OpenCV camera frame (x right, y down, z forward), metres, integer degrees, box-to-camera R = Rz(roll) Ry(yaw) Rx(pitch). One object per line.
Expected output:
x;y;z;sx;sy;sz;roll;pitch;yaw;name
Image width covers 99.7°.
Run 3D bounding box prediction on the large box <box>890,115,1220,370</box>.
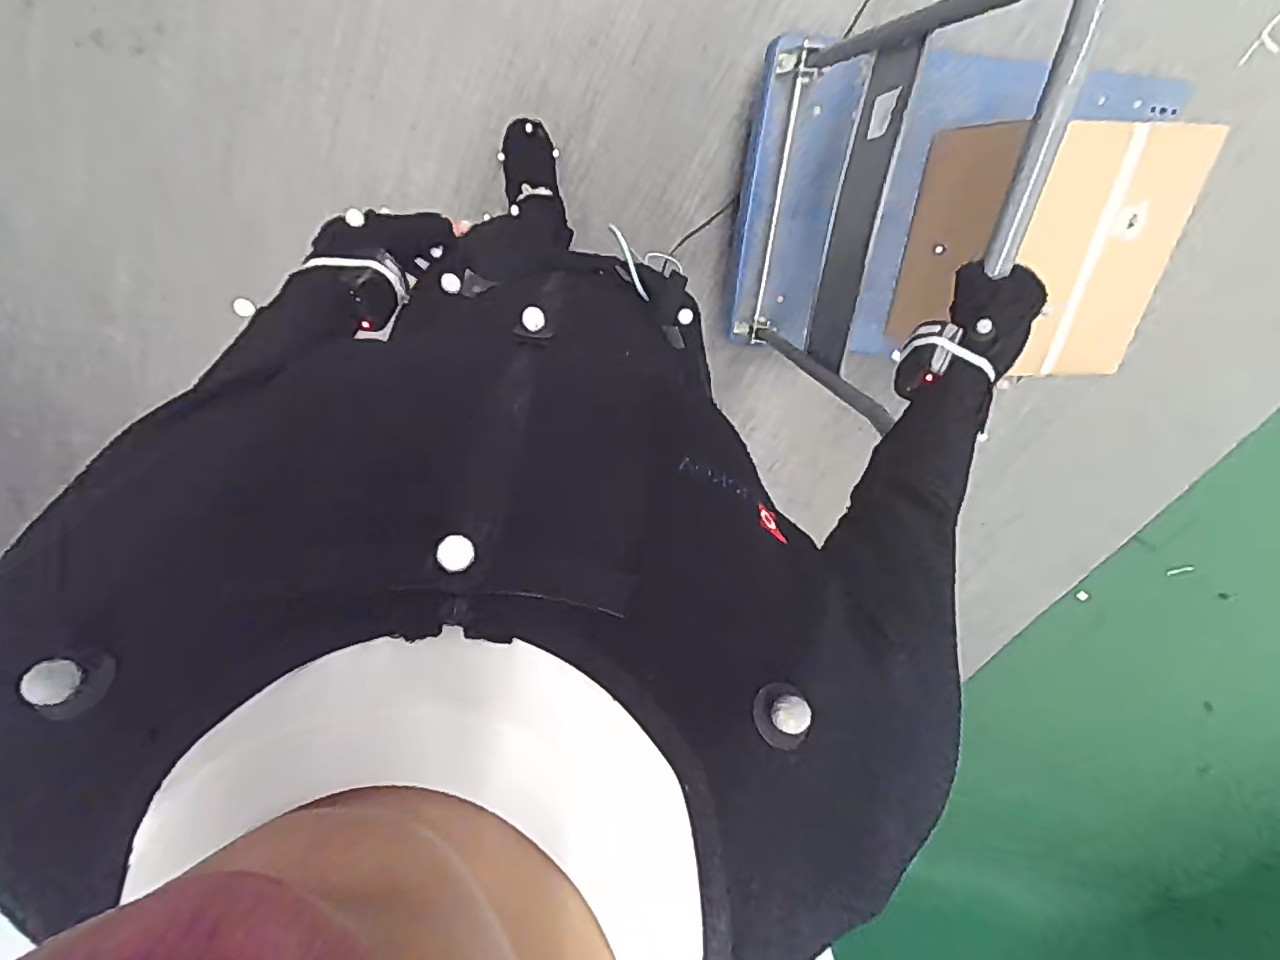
0.741;-0.454;1.054;0.320;0.320;0.408;-2;119;-5;large box
